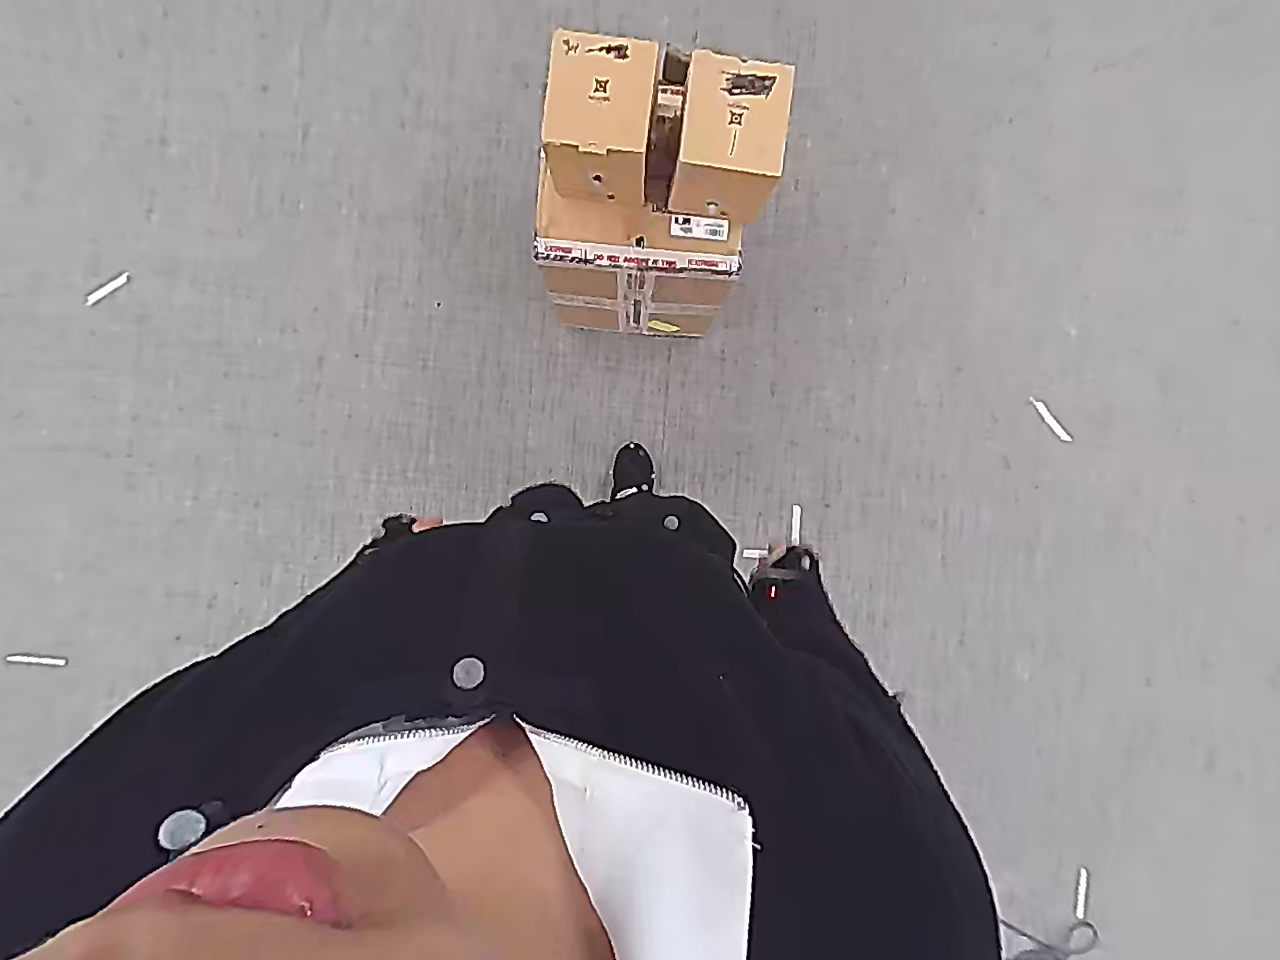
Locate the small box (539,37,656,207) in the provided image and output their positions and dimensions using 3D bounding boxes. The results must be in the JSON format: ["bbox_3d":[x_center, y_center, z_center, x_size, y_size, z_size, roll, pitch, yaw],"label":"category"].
[{"bbox_3d":[-0.064,-0.592,0.918,0.168,0.176,0.179,8,92,0],"label":"small box"}]

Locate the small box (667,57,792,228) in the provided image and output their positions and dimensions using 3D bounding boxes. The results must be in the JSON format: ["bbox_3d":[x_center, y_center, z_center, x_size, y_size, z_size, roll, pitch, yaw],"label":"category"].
[{"bbox_3d":[0.143,-0.564,0.926,0.168,0.176,0.179,7,92,-3],"label":"small box"}]
